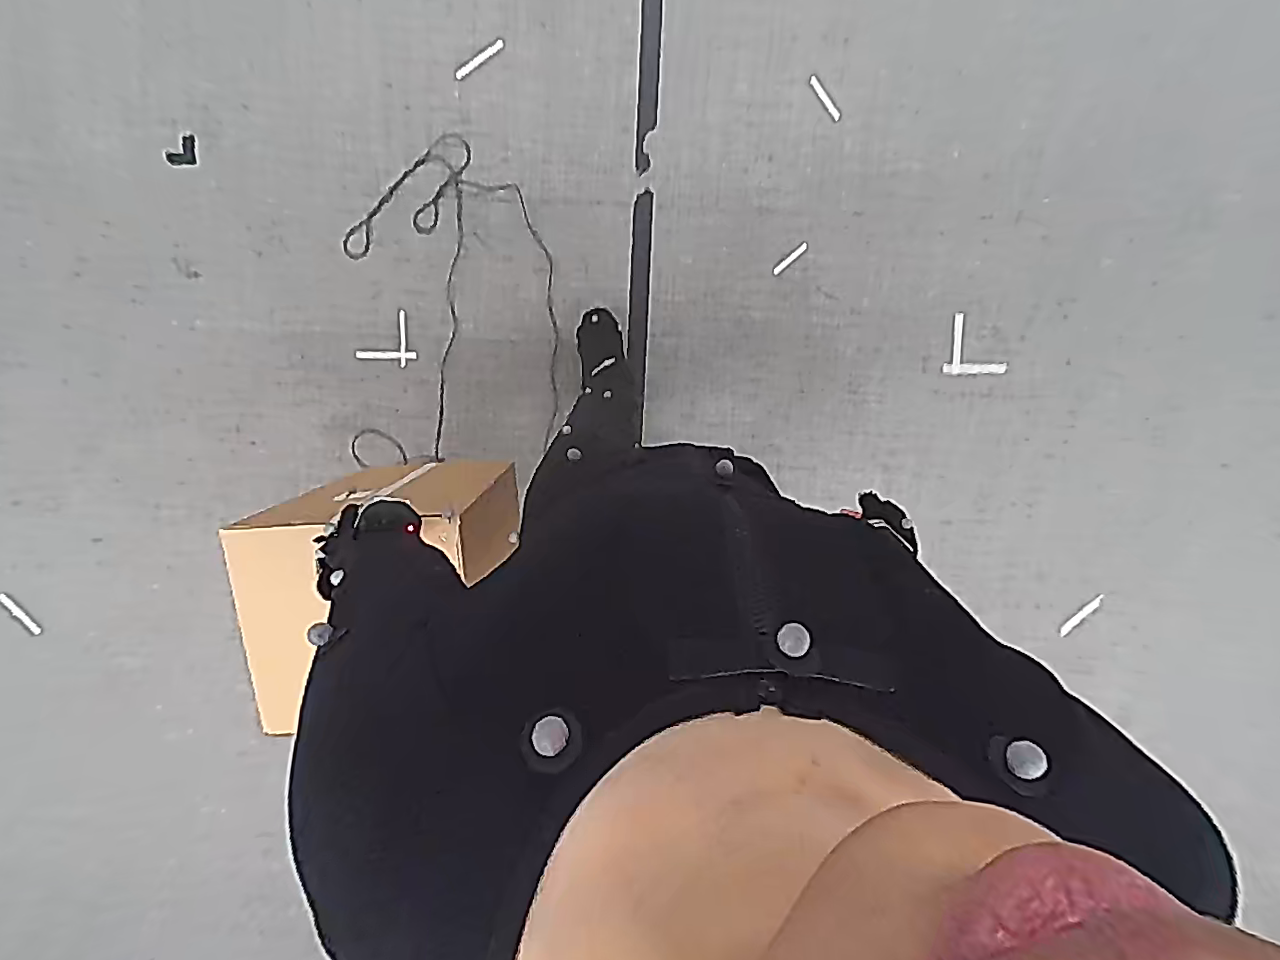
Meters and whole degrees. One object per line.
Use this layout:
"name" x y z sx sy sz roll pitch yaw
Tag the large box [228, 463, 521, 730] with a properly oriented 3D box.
"large box" -0.398 0.162 0.939 0.320 0.408 0.320 -4 102 -2
